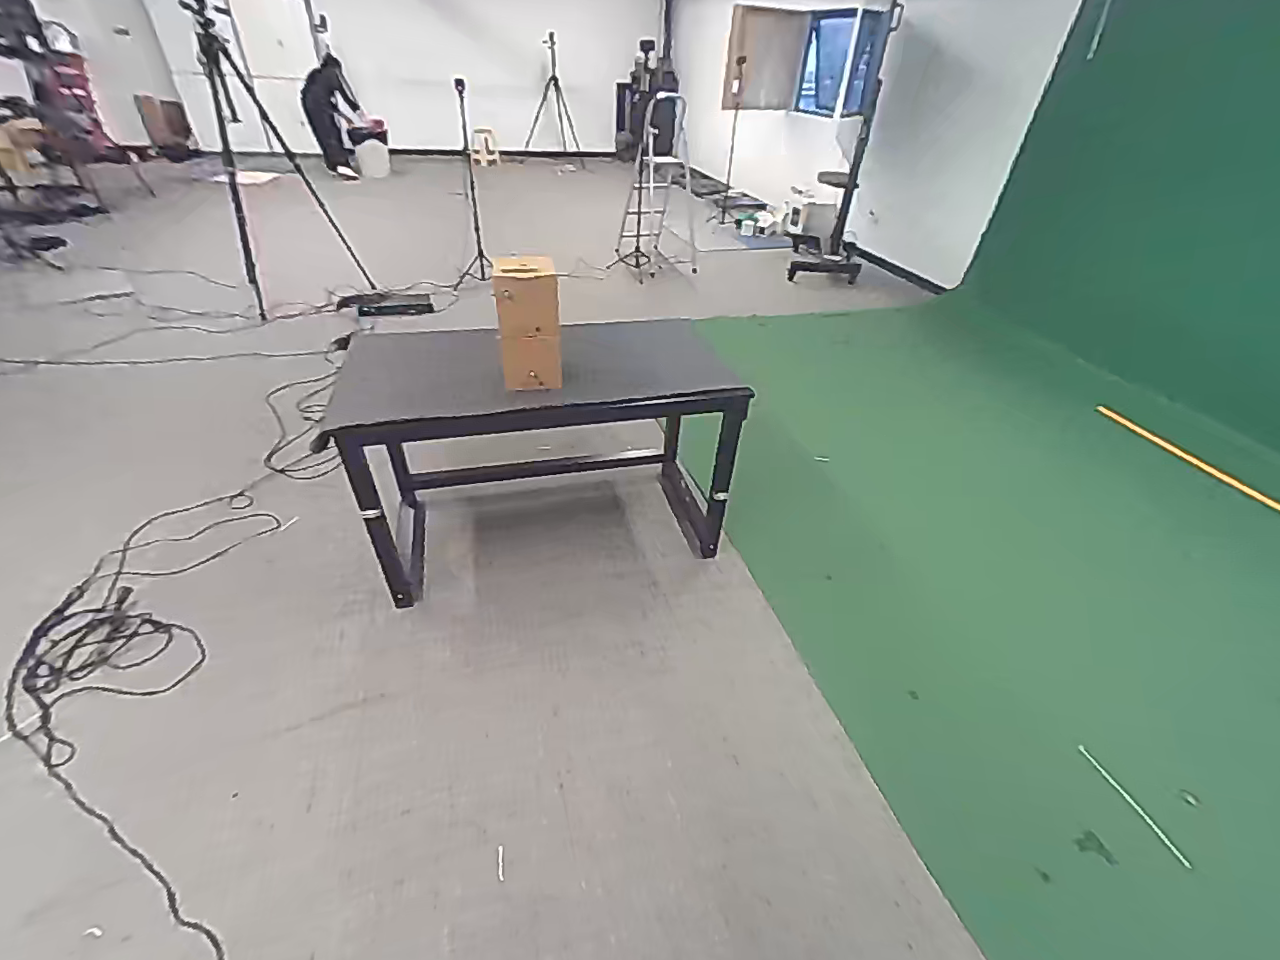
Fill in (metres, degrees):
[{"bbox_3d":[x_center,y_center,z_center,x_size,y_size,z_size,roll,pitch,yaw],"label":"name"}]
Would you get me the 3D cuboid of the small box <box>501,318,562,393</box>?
[{"bbox_3d":[-0.322,-0.372,1.616,0.168,0.176,0.179,-4,38,-10],"label":"small box"}]
